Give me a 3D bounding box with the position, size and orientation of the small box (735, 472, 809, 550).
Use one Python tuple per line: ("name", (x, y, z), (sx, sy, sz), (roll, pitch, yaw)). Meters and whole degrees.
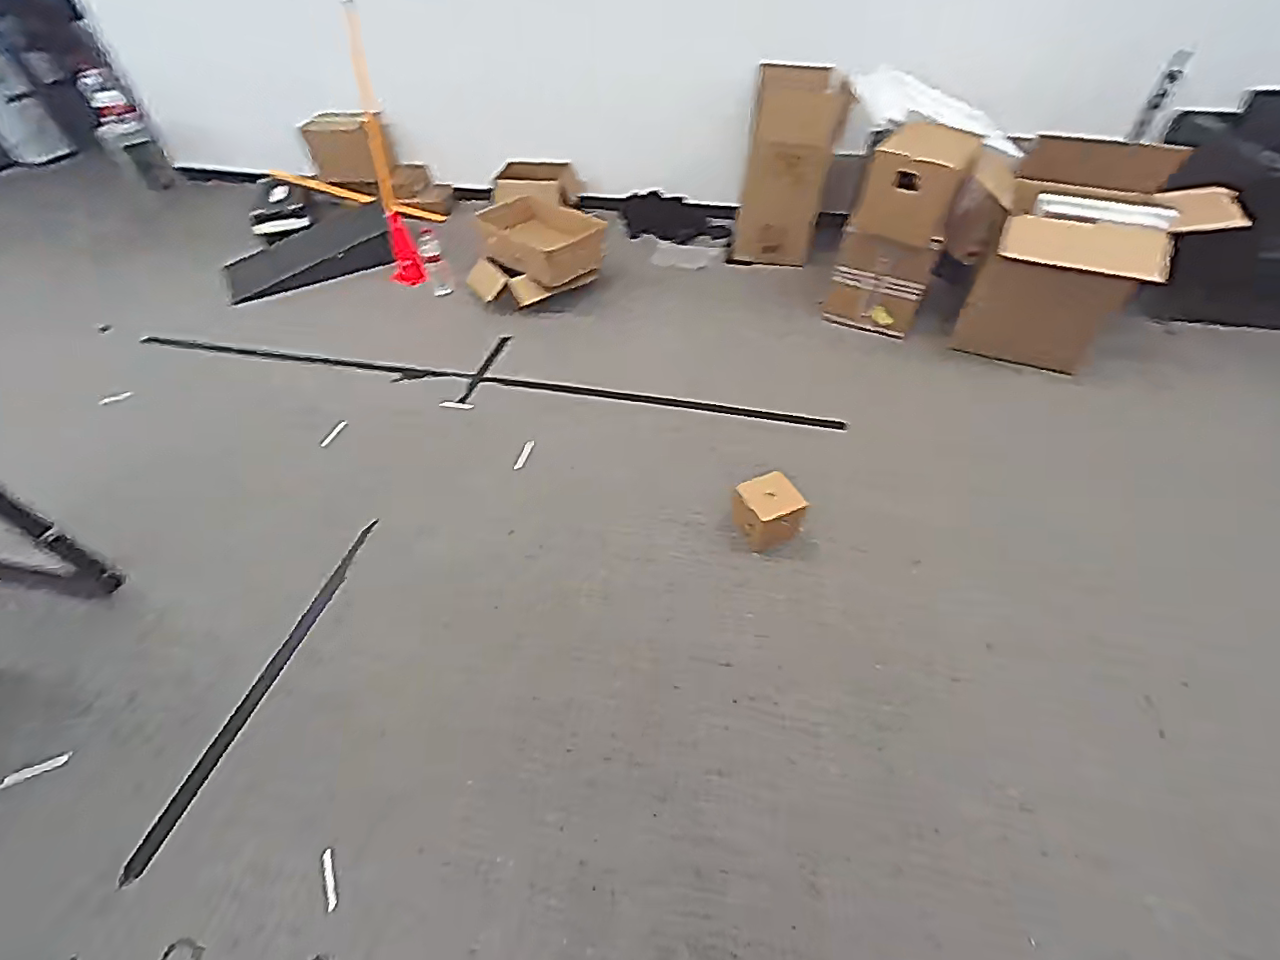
("small box", (0.430, 0.108, 1.801), (0.179, 0.176, 0.168), (-19, 51, -17))
